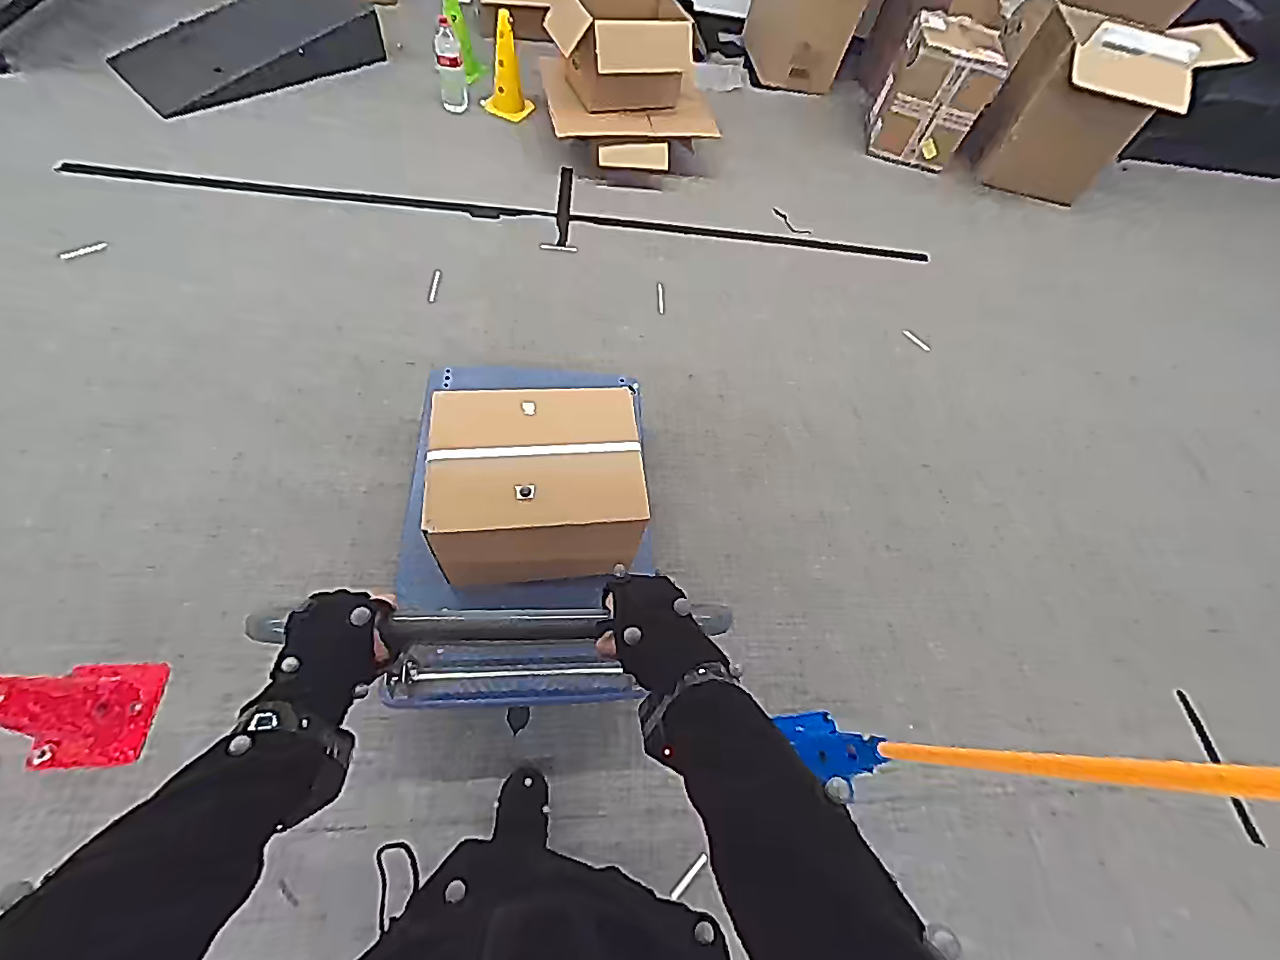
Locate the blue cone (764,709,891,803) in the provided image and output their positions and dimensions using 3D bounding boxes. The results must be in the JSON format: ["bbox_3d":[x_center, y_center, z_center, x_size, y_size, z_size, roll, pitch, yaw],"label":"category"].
[{"bbox_3d":[0.425,0.574,1.153,0.193,0.380,0.192,-1,60,-10],"label":"blue cone"}]
